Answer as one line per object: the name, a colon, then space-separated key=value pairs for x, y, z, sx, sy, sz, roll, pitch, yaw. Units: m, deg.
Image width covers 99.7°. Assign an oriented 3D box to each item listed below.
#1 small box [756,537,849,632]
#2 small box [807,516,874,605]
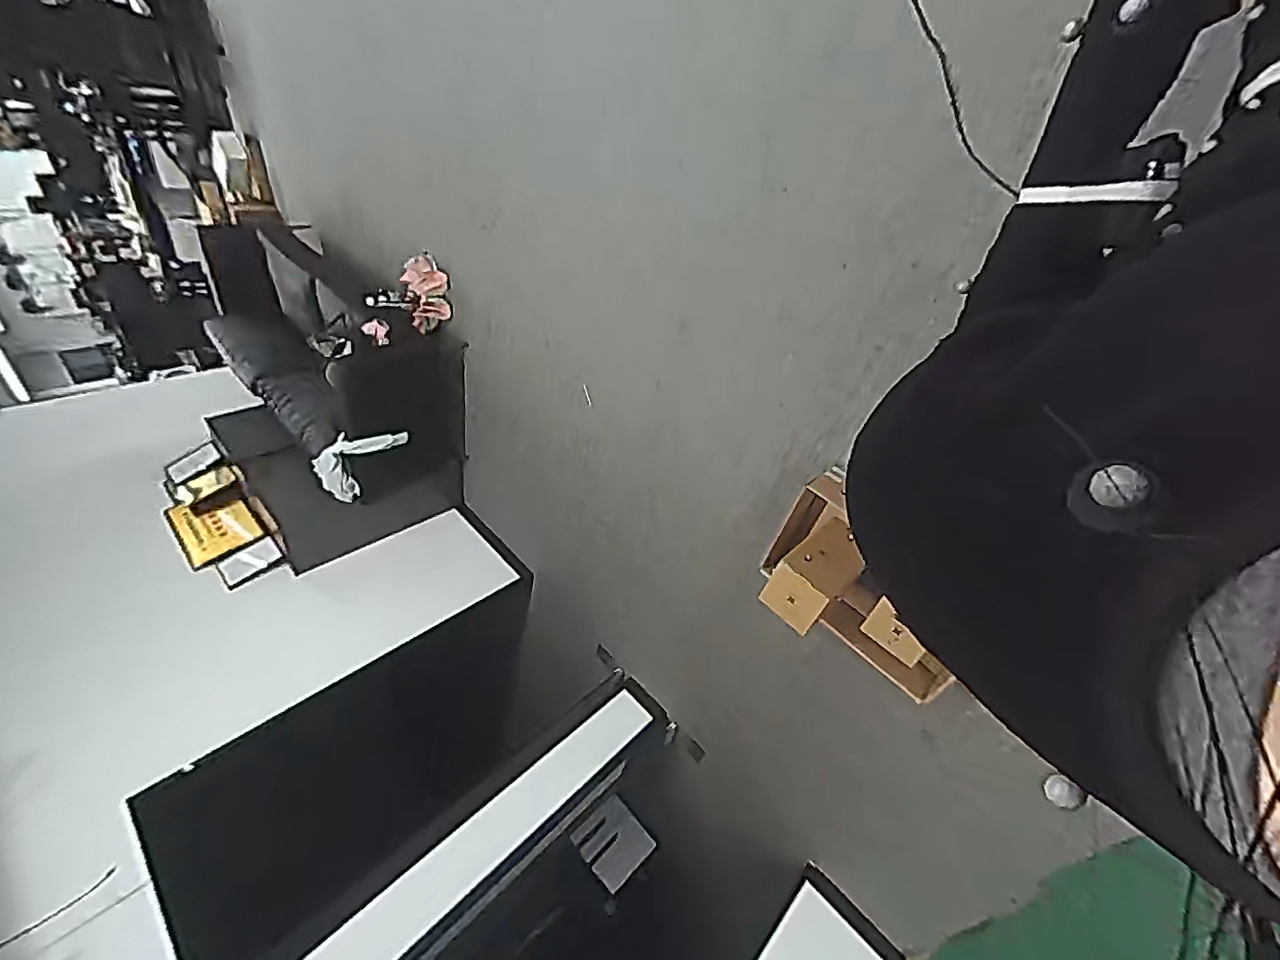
small box: x=0.473 y=0.294 z=1.558 sx=0.168 sy=0.176 sz=0.179 roll=41 pitch=135 yaw=25
small box: x=0.586 y=0.244 z=1.663 sx=0.168 sy=0.176 sz=0.179 roll=39 pitch=134 yaw=24
